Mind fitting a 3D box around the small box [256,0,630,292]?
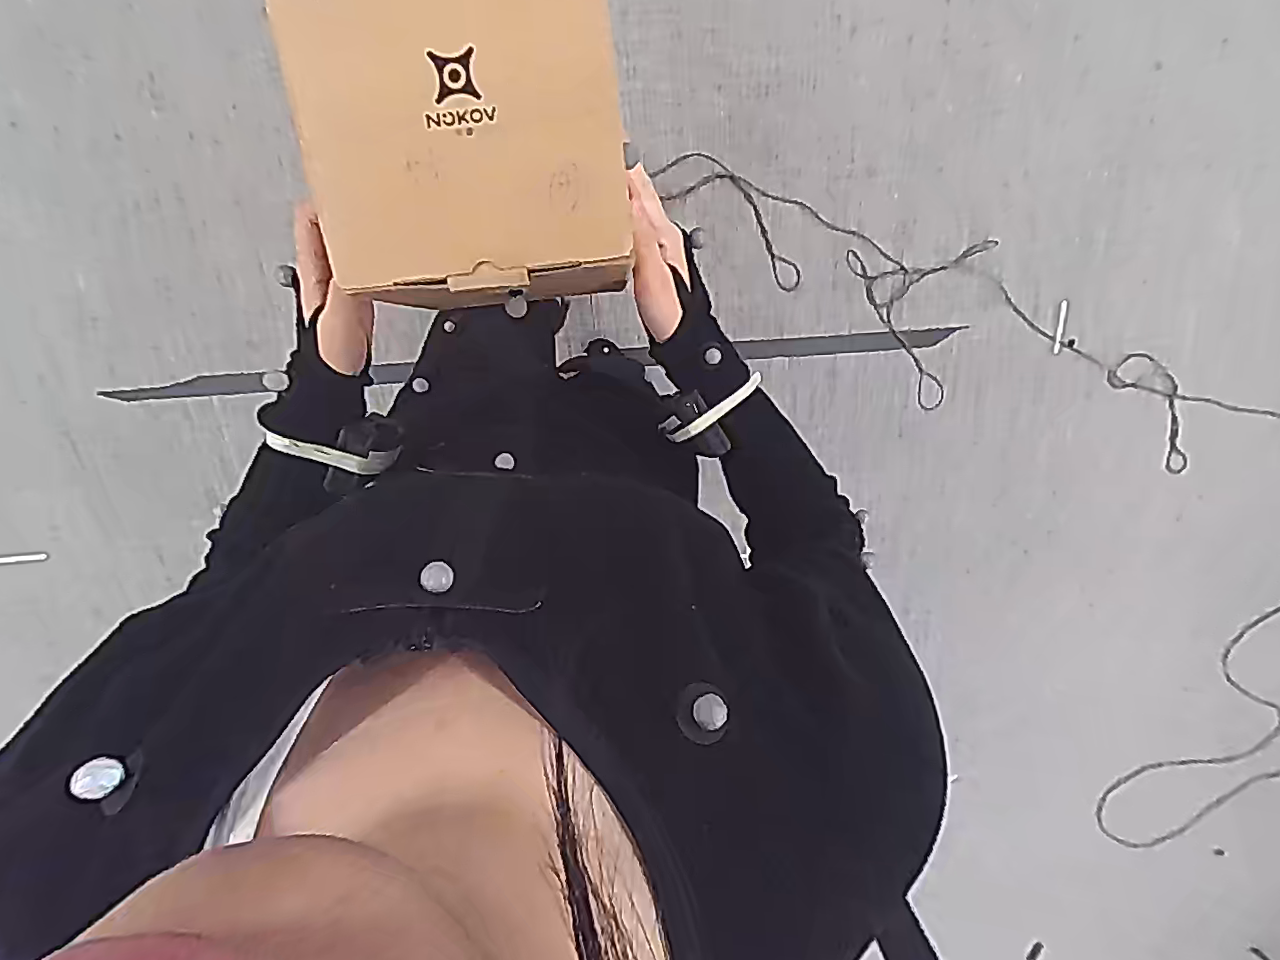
[{"bbox_3d":[-0.098,-0.217,0.340,0.168,0.176,0.179,-7,106,-2],"label":"small box"}]
